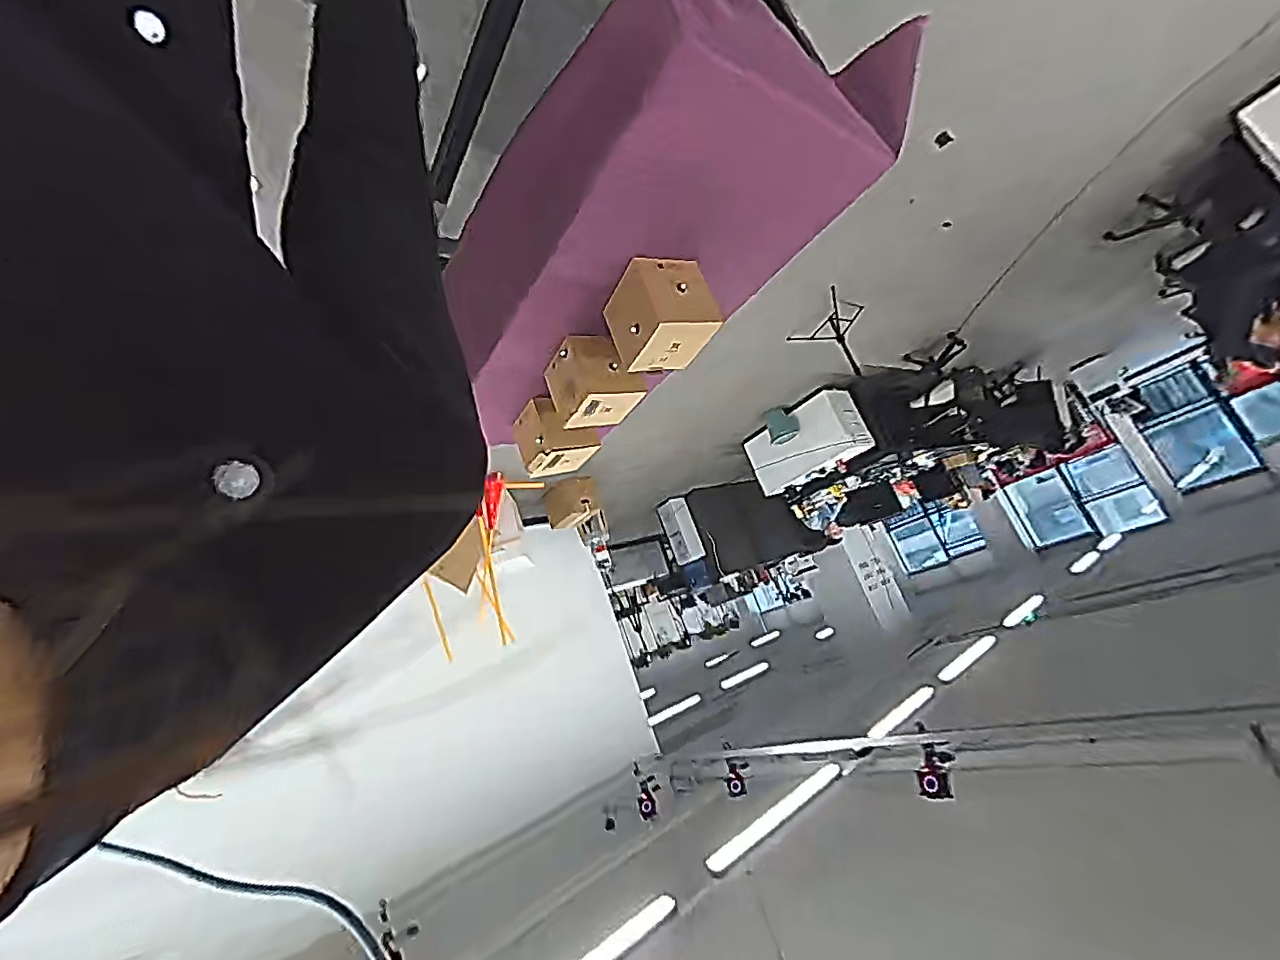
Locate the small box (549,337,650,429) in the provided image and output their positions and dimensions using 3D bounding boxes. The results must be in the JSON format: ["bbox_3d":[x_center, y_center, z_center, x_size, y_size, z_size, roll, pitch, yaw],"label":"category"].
[{"bbox_3d":[-0.110,-0.249,1.374,0.179,0.176,0.168,-10,162,-36],"label":"small box"}]

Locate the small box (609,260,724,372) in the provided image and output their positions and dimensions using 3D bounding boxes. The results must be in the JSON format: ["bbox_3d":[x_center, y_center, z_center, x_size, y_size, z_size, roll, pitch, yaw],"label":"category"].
[{"bbox_3d":[0.050,-0.361,1.194,0.168,0.176,0.179,-10,162,-31],"label":"small box"}]
